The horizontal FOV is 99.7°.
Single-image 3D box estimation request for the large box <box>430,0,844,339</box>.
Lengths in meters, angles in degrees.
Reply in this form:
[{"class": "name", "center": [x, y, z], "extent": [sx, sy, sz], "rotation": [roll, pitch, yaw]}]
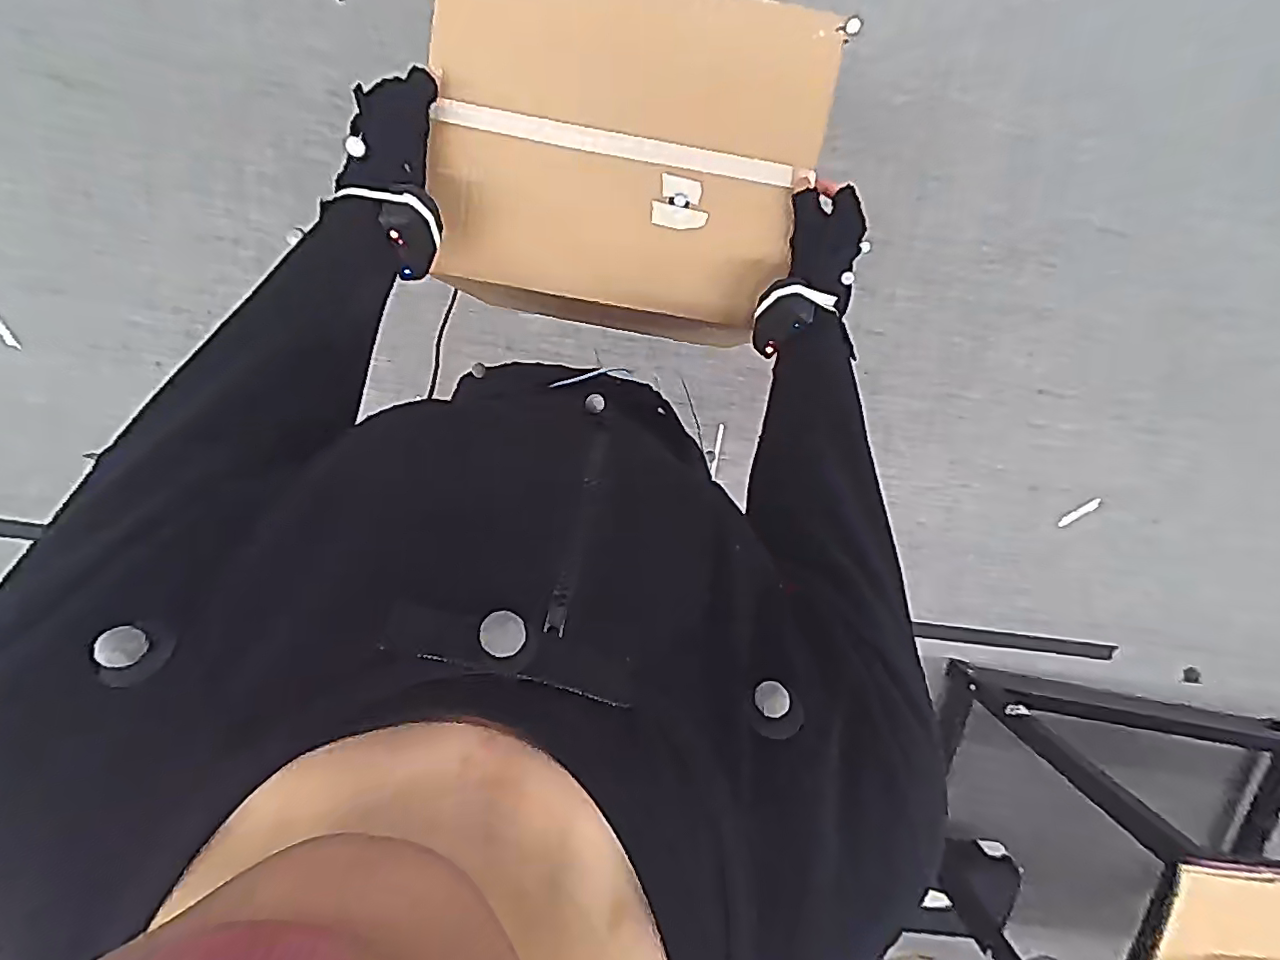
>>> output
[{"class": "large box", "center": [-0.016, -0.381, 0.713], "extent": [0.408, 0.320, 0.320], "rotation": [10, 102, -4]}]
